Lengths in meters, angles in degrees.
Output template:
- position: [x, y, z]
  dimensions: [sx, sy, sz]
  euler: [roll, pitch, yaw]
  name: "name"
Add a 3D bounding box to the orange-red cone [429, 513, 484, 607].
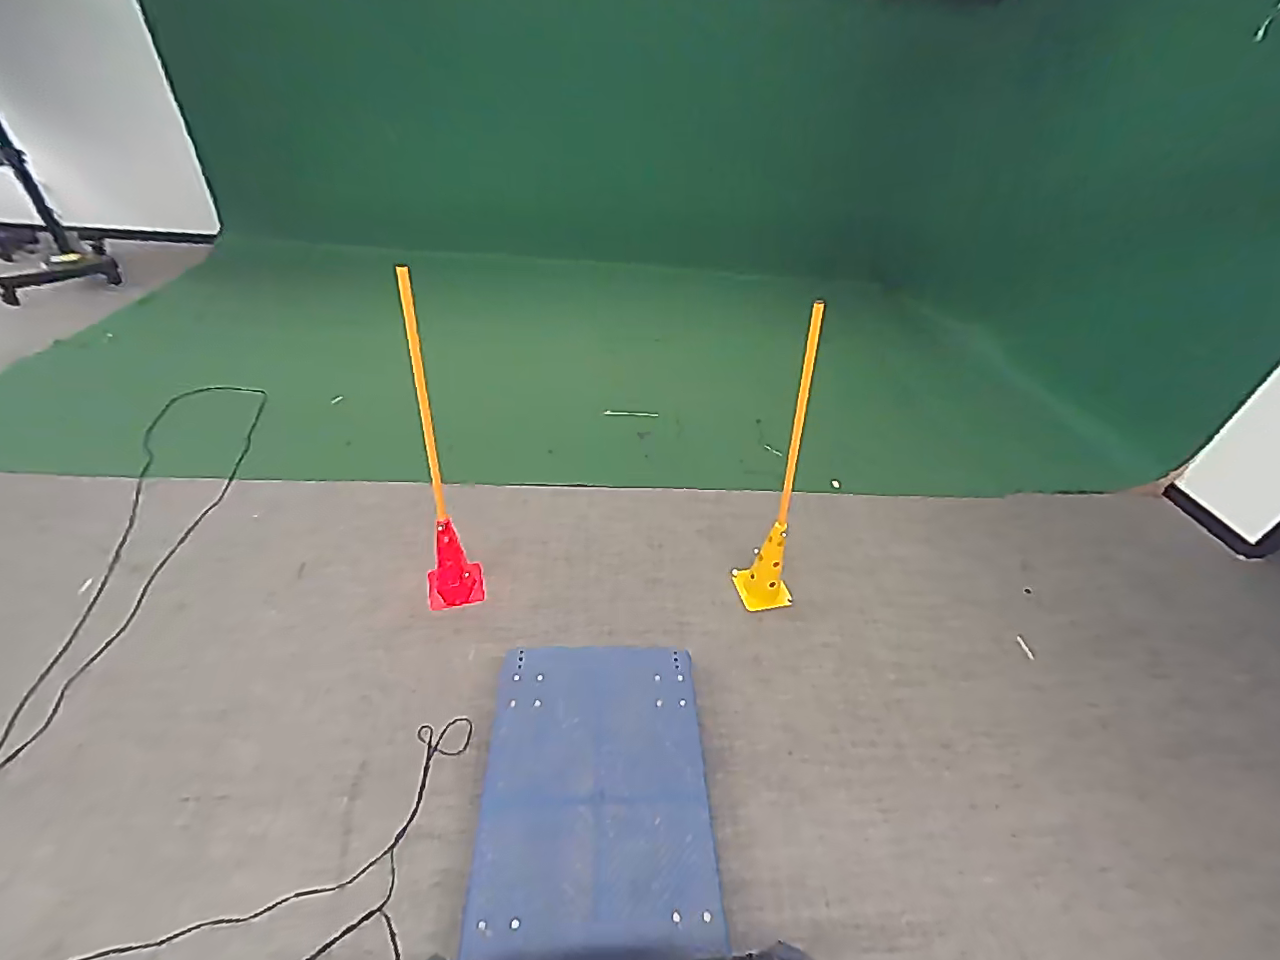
- position: [-0.683, 0.260, 1.936]
  dimensions: [0.199, 0.360, 0.198]
  euler: [-9, 41, -16]
  name: "orange-red cone"
